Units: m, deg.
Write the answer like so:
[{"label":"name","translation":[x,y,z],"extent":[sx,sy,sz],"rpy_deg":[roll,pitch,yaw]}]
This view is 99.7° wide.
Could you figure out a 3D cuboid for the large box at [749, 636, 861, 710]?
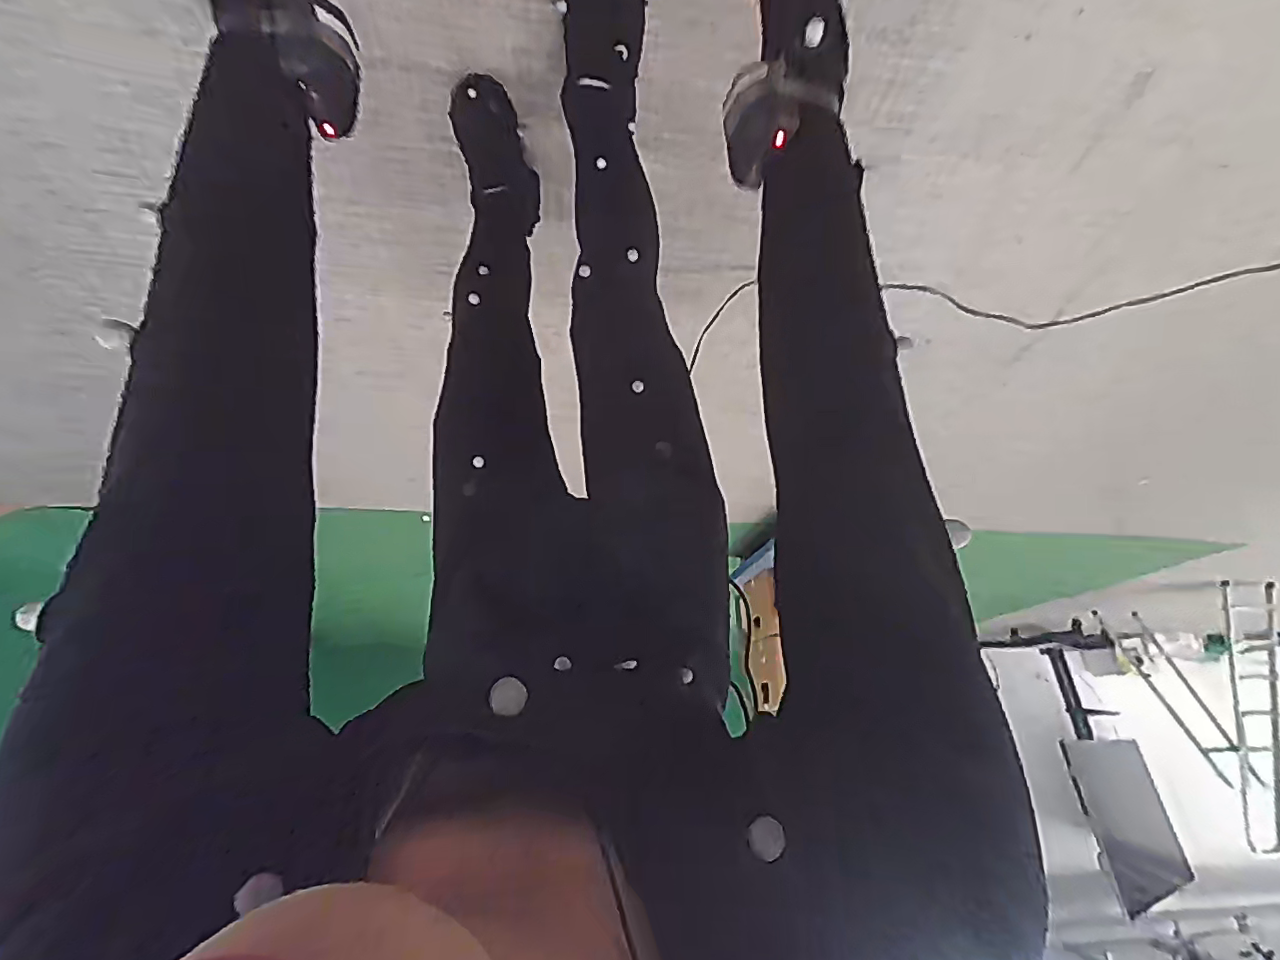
[{"label":"large box","translation":[0.785,0.942,2.635],"extent":[0.408,0.320,0.320],"rpy_deg":[4,156,-13]}]
